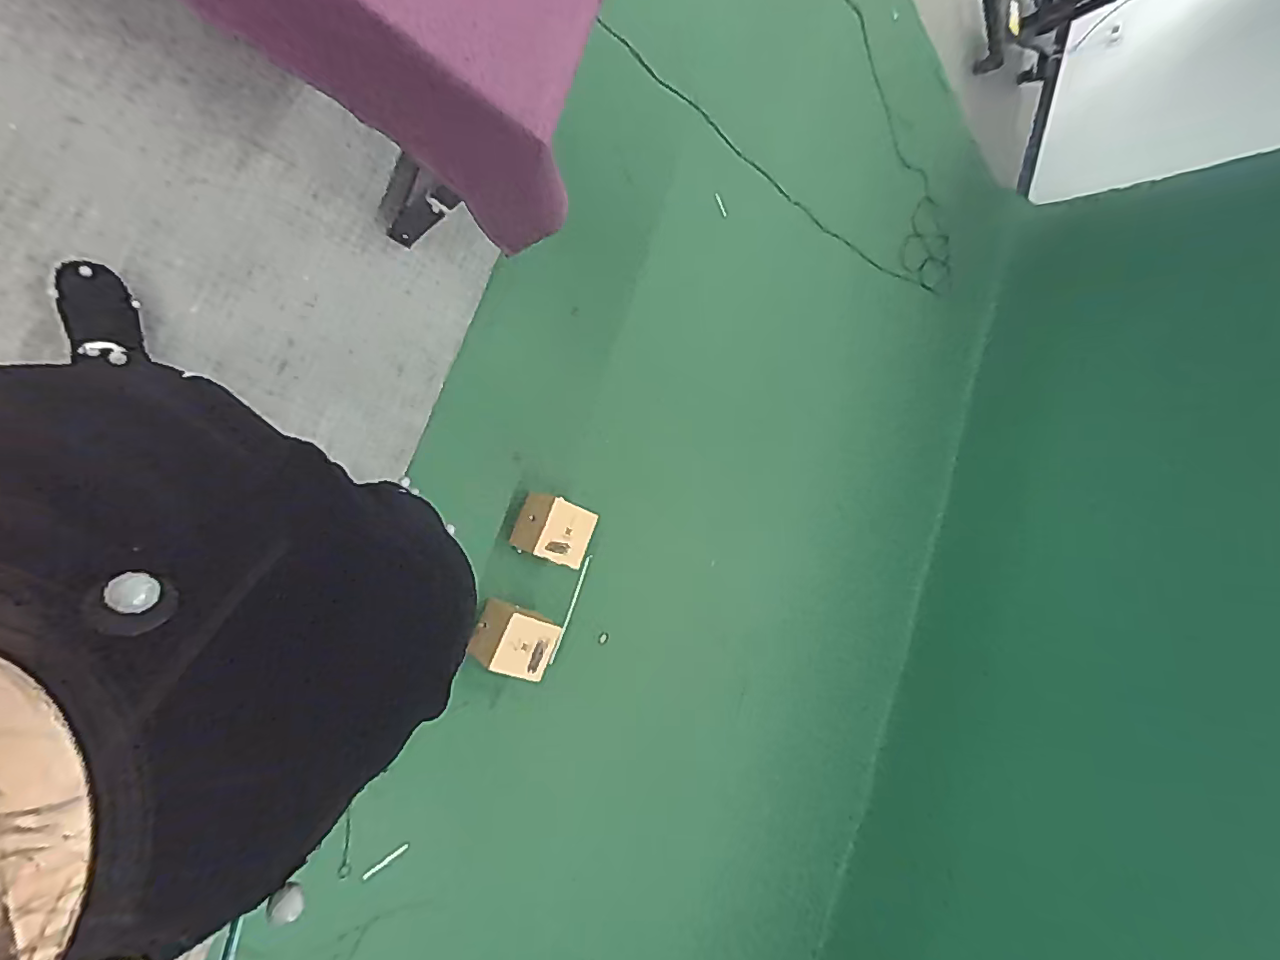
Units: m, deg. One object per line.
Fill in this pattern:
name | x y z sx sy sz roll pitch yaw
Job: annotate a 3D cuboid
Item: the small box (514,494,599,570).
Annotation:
small box | -0.258 0.154 1.635 0.168 0.176 0.179 28 77 -37
